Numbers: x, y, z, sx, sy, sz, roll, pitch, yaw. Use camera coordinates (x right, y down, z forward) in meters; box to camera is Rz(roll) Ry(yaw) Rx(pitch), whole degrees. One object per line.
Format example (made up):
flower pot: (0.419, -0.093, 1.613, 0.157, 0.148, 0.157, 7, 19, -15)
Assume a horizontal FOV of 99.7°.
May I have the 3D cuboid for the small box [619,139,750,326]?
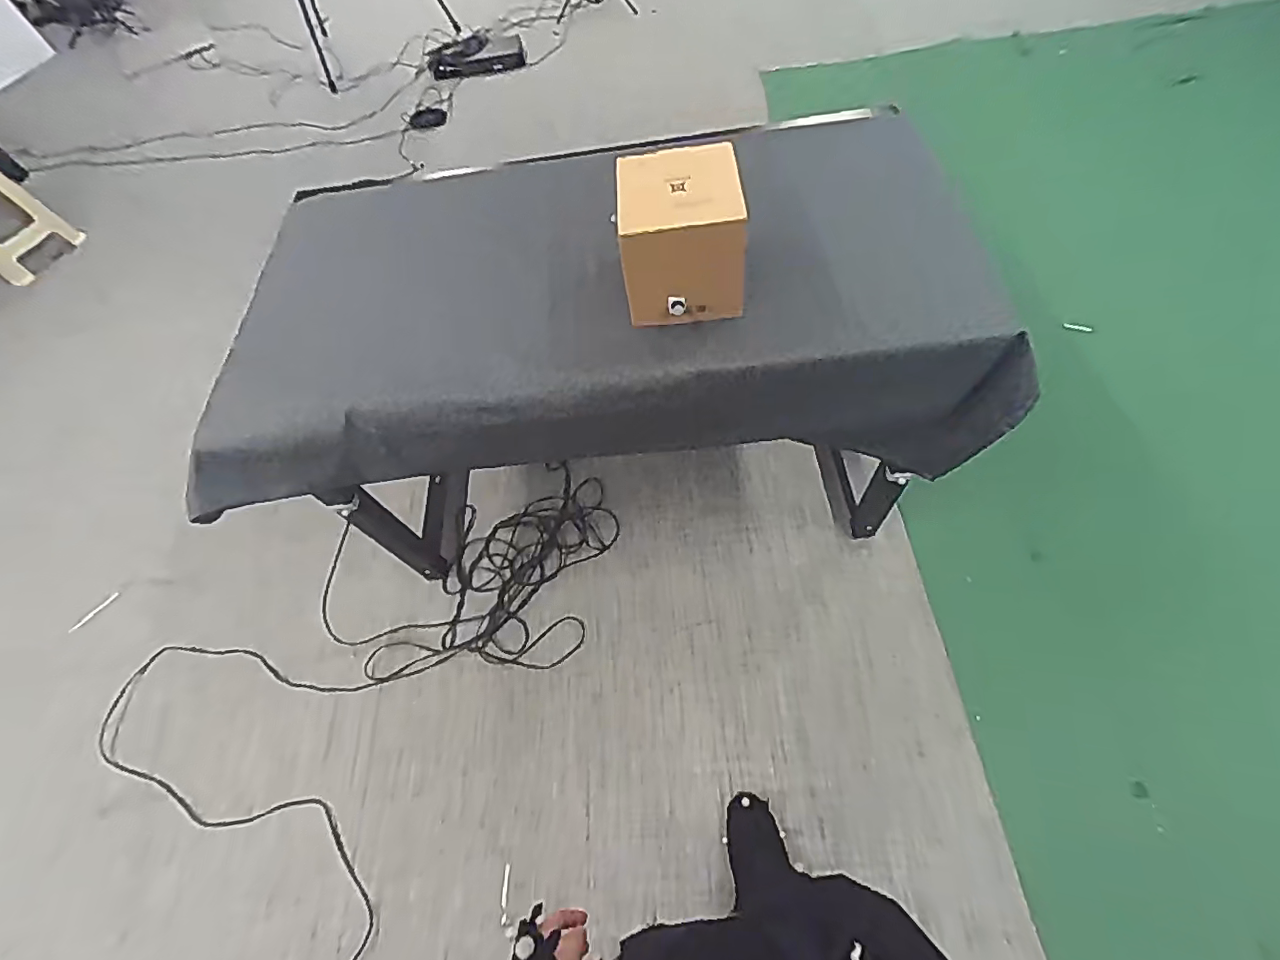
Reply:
small box: (0.062, -0.352, 0.784, 0.168, 0.176, 0.179, -6, 61, 5)
